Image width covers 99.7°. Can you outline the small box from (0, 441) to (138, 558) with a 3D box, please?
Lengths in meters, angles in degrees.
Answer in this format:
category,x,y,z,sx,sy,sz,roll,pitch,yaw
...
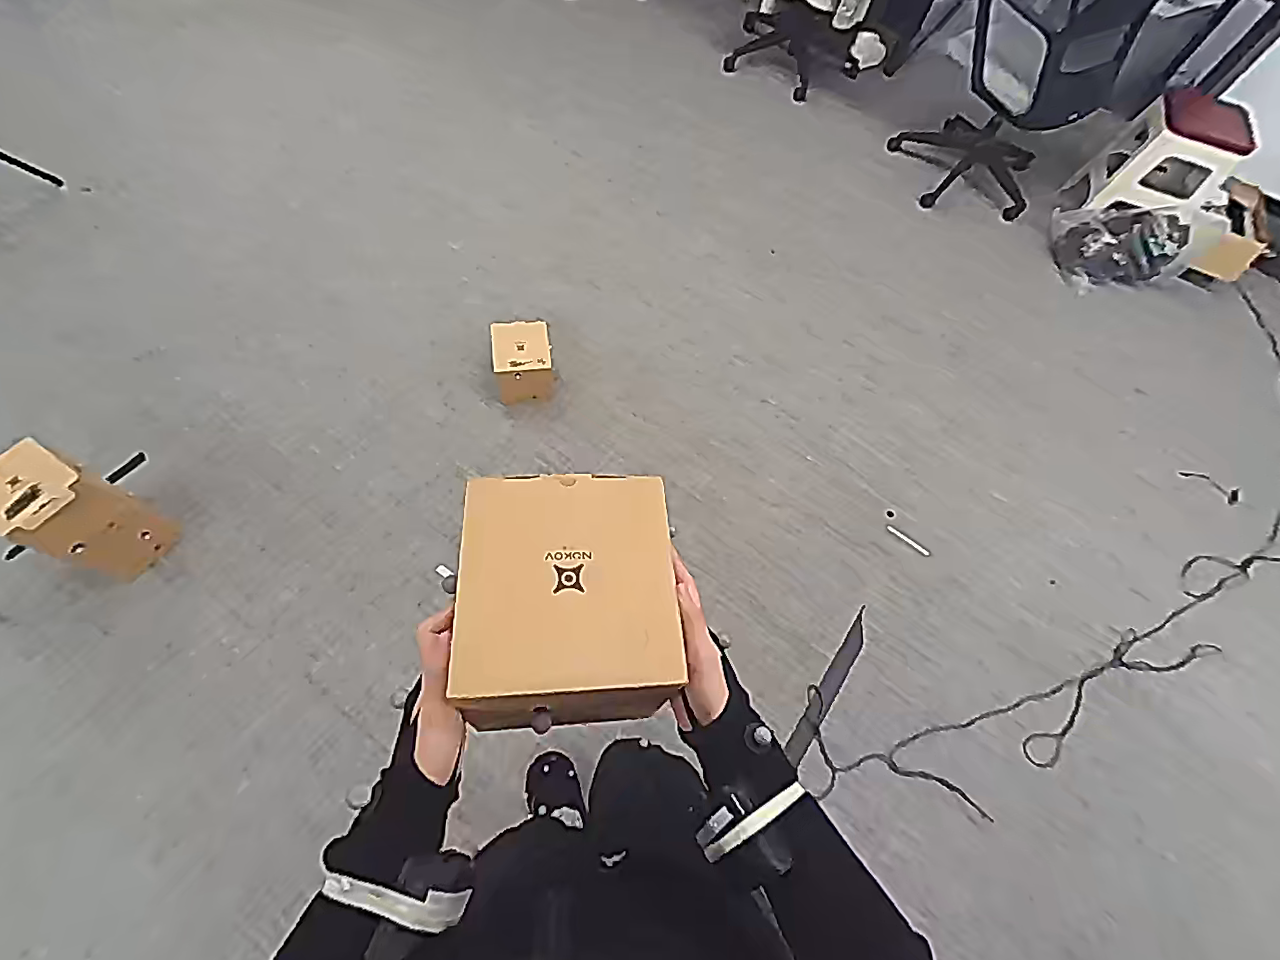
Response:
category,x,y,z,sx,sy,sz,roll,pitch,yaw
small box,-1.276,0.052,1.181,0.179,0.176,0.168,32,65,10

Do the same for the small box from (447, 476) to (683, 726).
category,x,y,z,sx,sy,sz,roll,pitch,yaw
small box,-0.064,0.114,0.481,0.168,0.176,0.179,-1,57,-9

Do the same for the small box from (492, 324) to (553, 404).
category,x,y,z,sx,sy,sz,roll,pitch,yaw
small box,-0.356,-0.352,1.651,0.168,0.176,0.179,-6,66,-10

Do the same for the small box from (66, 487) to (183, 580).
category,x,y,z,sx,sy,sz,roll,pitch,yaw
small box,-1.295,0.126,1.327,0.179,0.176,0.168,30,65,10
